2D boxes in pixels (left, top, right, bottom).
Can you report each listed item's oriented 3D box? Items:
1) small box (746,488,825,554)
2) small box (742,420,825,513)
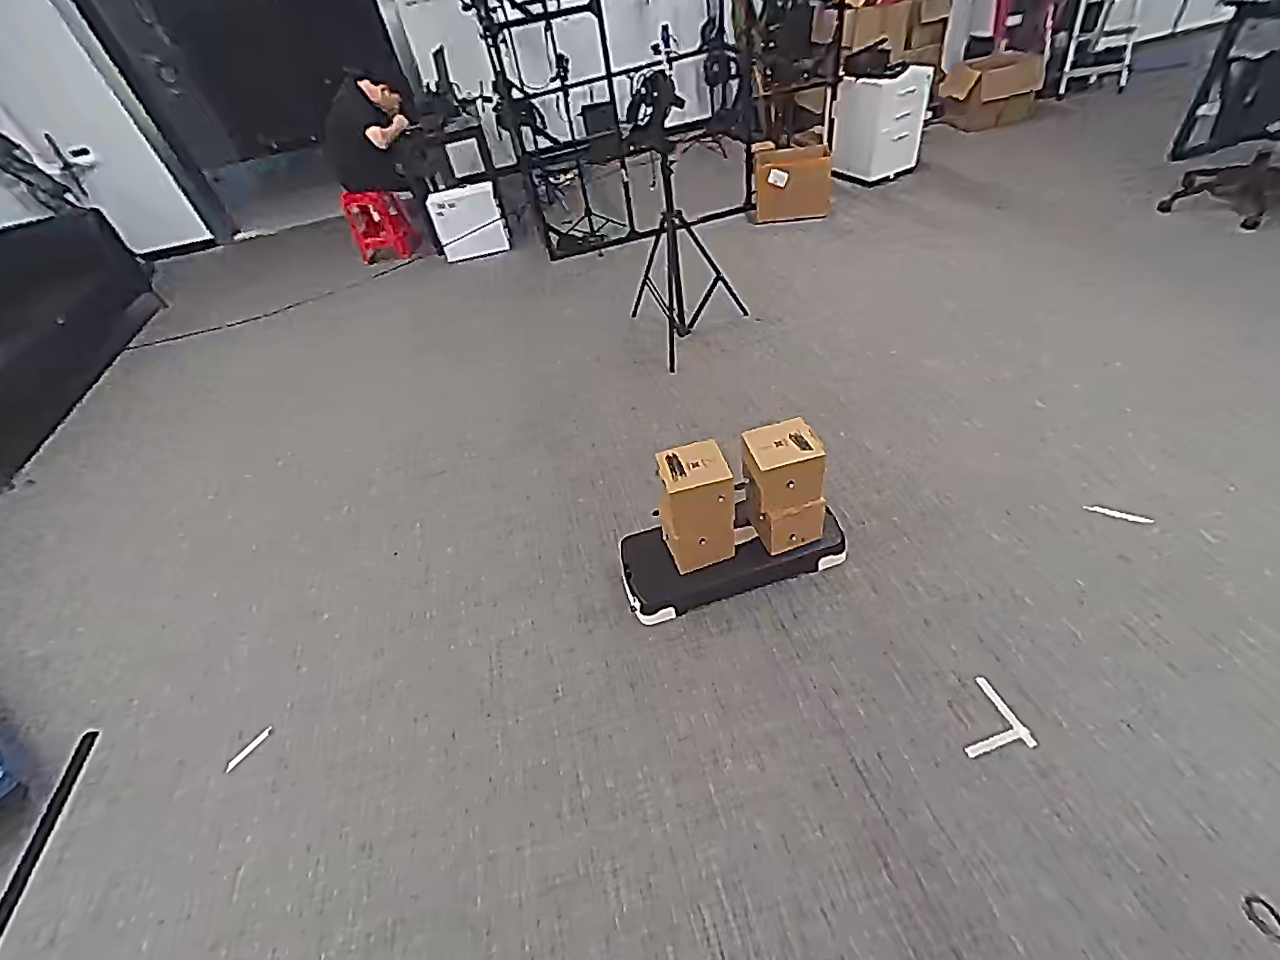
[{"bbox_3d":[0.421,0.088,1.598,0.168,0.176,0.179,-18,45,-6],"label":"small box"},{"bbox_3d":[0.389,-0.036,1.494,0.179,0.176,0.168,-15,44,-2],"label":"small box"}]
